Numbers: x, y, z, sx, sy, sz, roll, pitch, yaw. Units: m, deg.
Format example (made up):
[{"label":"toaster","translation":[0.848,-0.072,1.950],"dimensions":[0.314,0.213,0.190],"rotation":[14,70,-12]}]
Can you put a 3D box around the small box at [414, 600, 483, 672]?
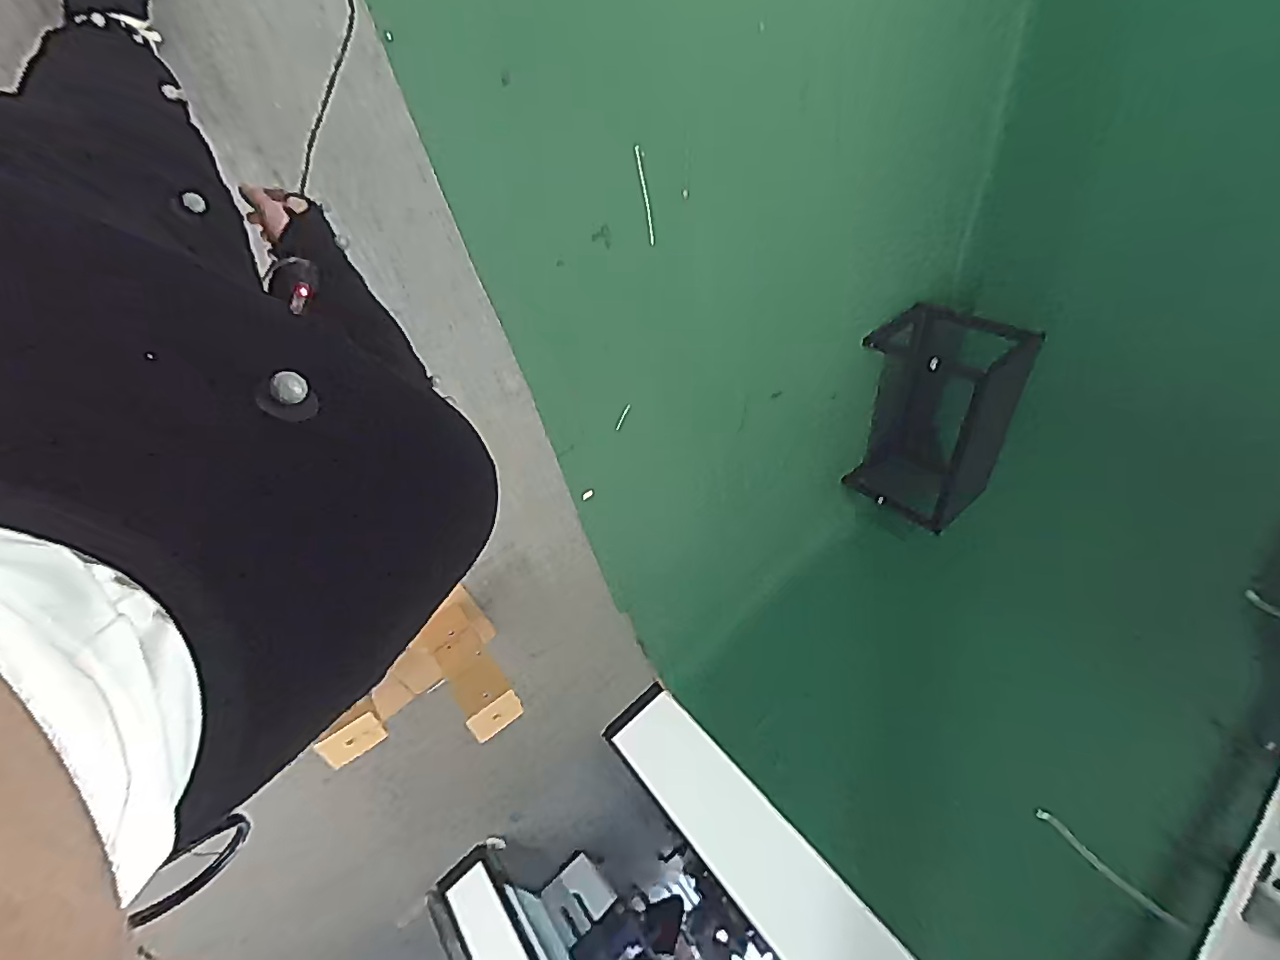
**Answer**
[{"label":"small box","translation":[-0.749,0.605,2.116],"dimensions":[0.179,0.176,0.168],"rotation":[-31,136,-23]}]

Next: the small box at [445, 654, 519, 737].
[{"label":"small box","translation":[-0.555,0.749,1.896],"dimensions":[0.179,0.176,0.168],"rotation":[-30,135,-24]}]

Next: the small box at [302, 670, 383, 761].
[{"label":"small box","translation":[-0.974,0.763,1.762],"dimensions":[0.179,0.176,0.168],"rotation":[-29,135,-27]}]
